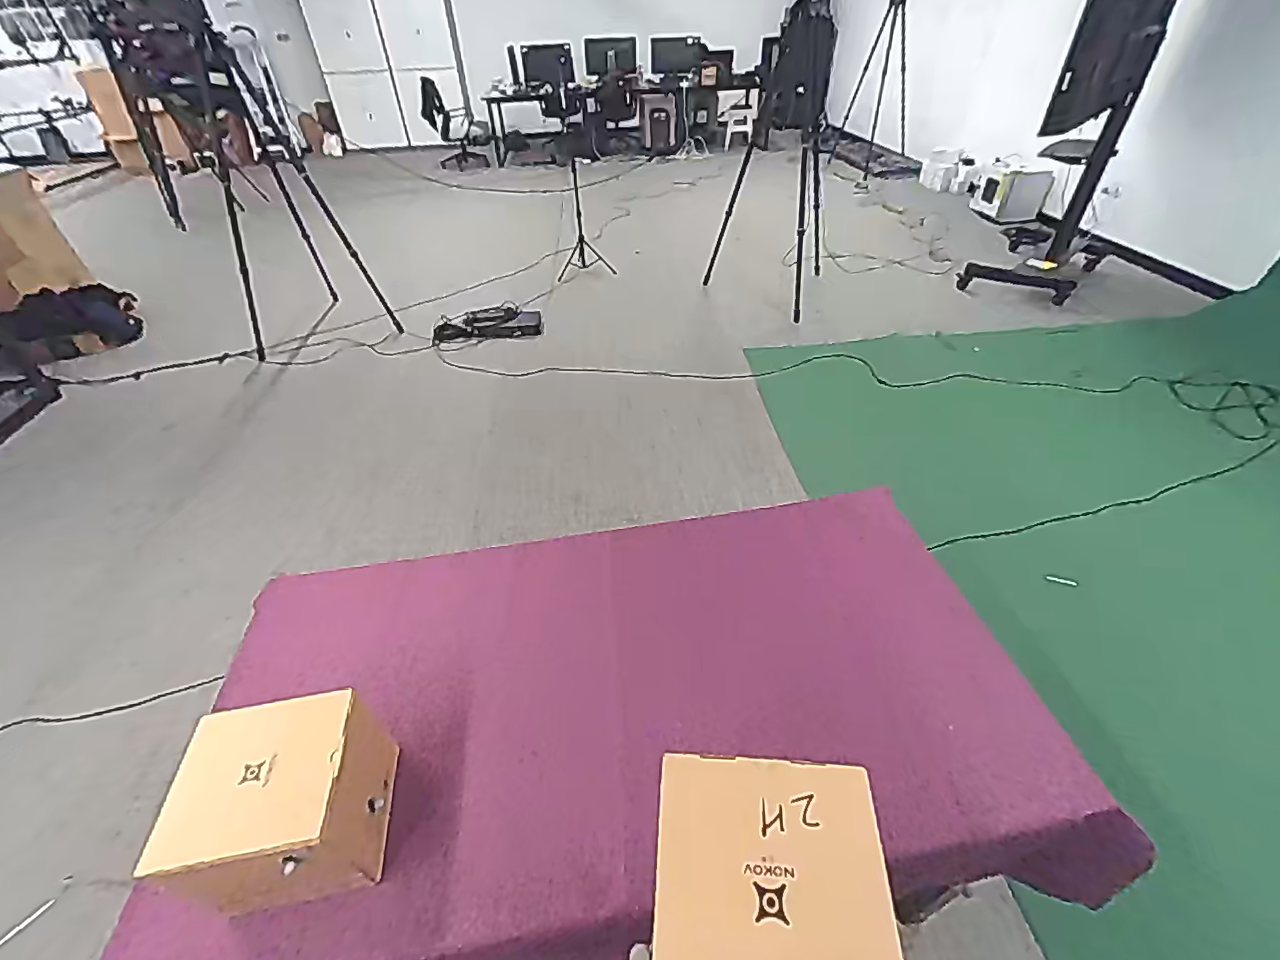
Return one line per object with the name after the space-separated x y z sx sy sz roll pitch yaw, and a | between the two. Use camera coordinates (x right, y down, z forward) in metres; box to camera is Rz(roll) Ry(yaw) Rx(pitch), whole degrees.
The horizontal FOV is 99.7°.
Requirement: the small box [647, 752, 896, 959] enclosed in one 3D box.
0.097 0.349 0.441 0.168 0.176 0.179 1 44 7 | small box

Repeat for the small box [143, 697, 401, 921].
-0.411 0.392 0.646 0.179 0.176 0.168 -8 40 -7 | small box
